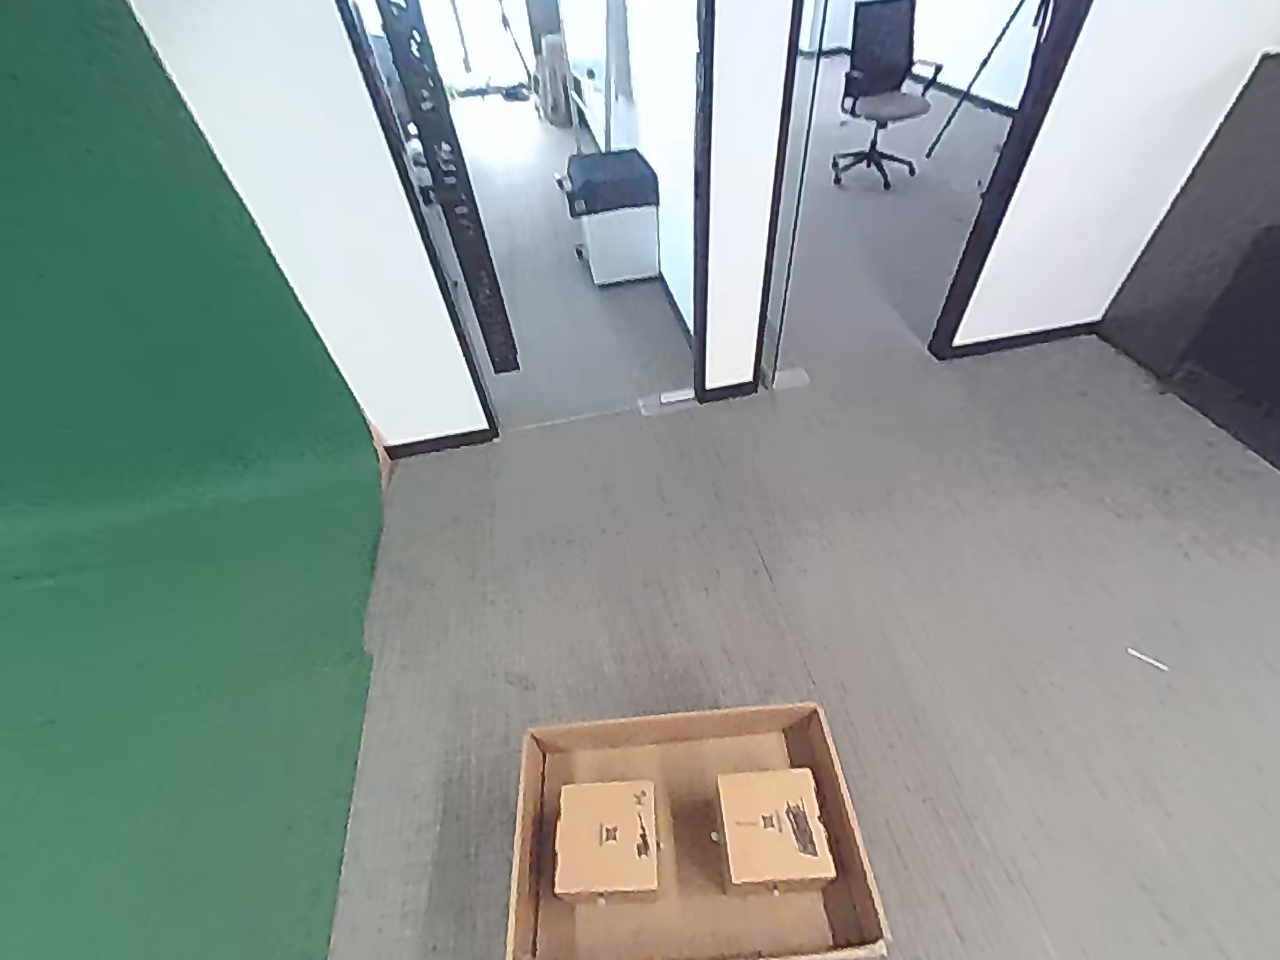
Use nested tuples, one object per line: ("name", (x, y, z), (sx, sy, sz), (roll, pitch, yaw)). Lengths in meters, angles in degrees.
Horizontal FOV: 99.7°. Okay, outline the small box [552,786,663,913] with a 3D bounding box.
("small box", (-0.053, 0.686, 1.001), (0.179, 0.176, 0.168), (-4, 45, 3))
